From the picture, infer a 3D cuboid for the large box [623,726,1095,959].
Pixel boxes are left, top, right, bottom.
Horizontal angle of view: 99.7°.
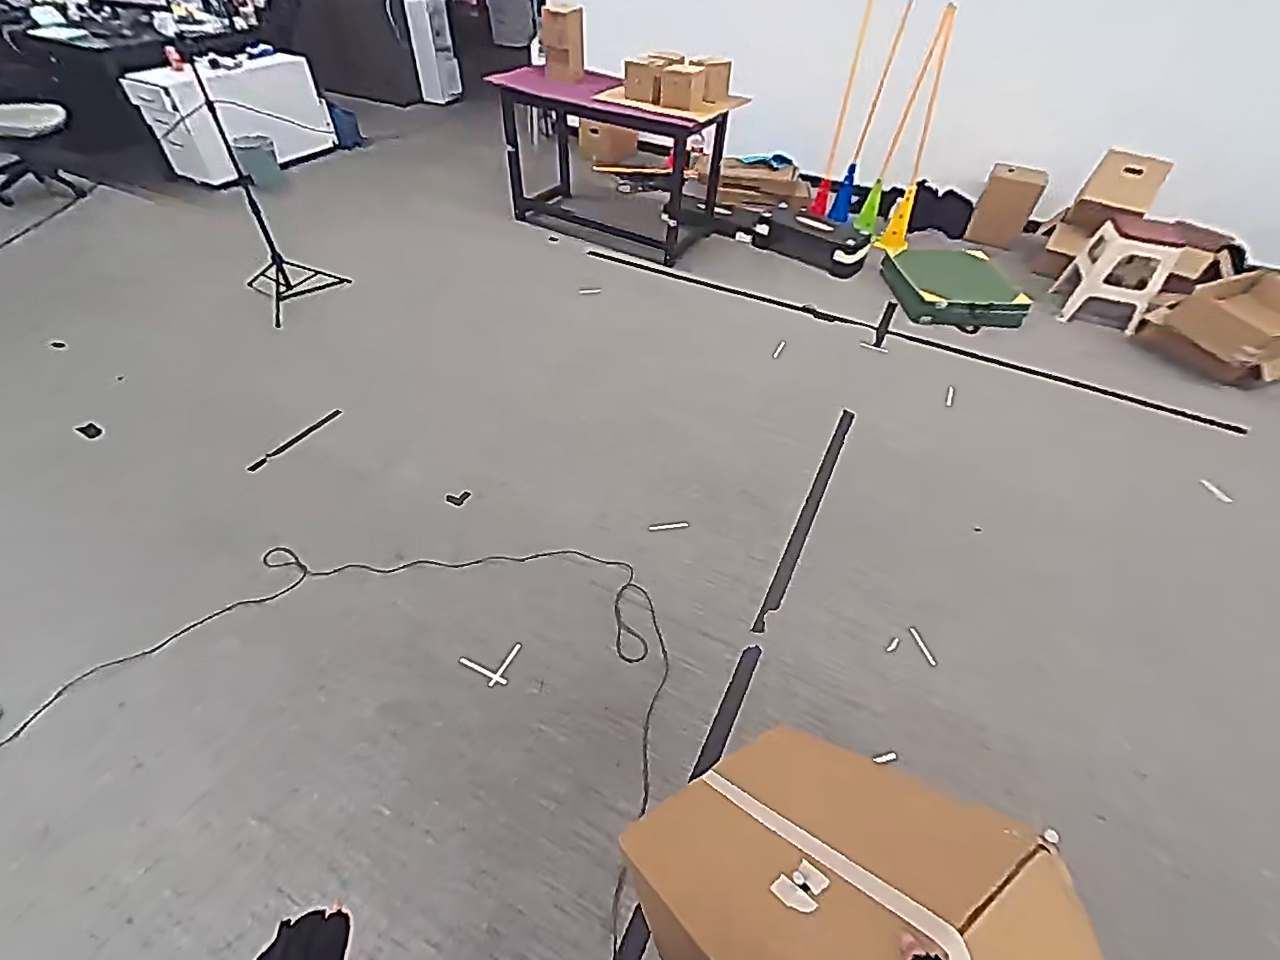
[{"bbox_3d":[0.233,0.554,0.627,0.320,0.408,0.320,-21,91,-25],"label":"large box"}]
